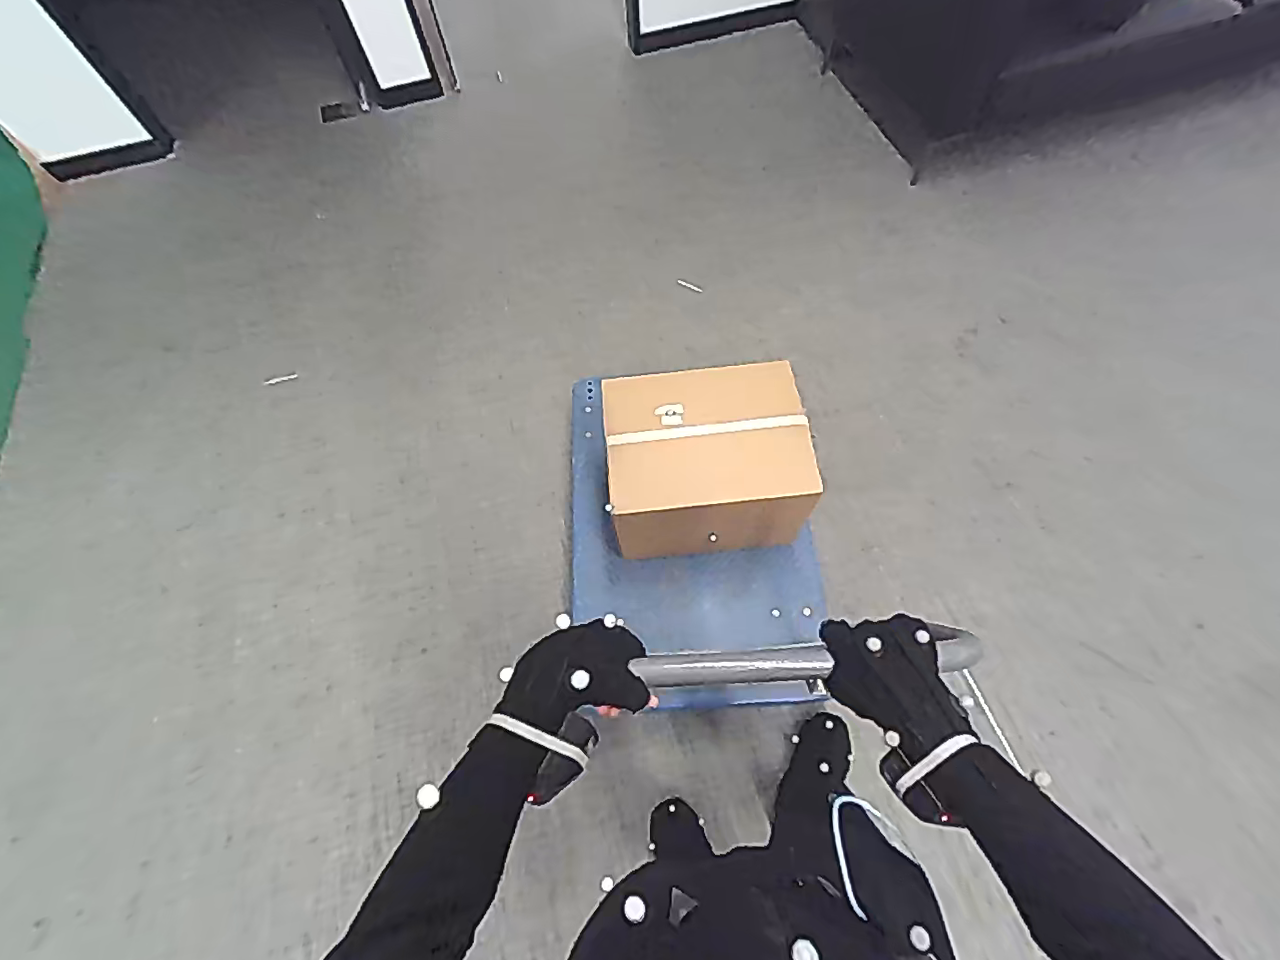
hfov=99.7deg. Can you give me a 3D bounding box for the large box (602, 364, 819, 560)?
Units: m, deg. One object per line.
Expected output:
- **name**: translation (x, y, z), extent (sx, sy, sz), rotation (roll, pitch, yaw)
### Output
- **large box**: translation (0.141, -0.025, 1.231), extent (0.408, 0.320, 0.320), rotation (-7, 64, 1)
